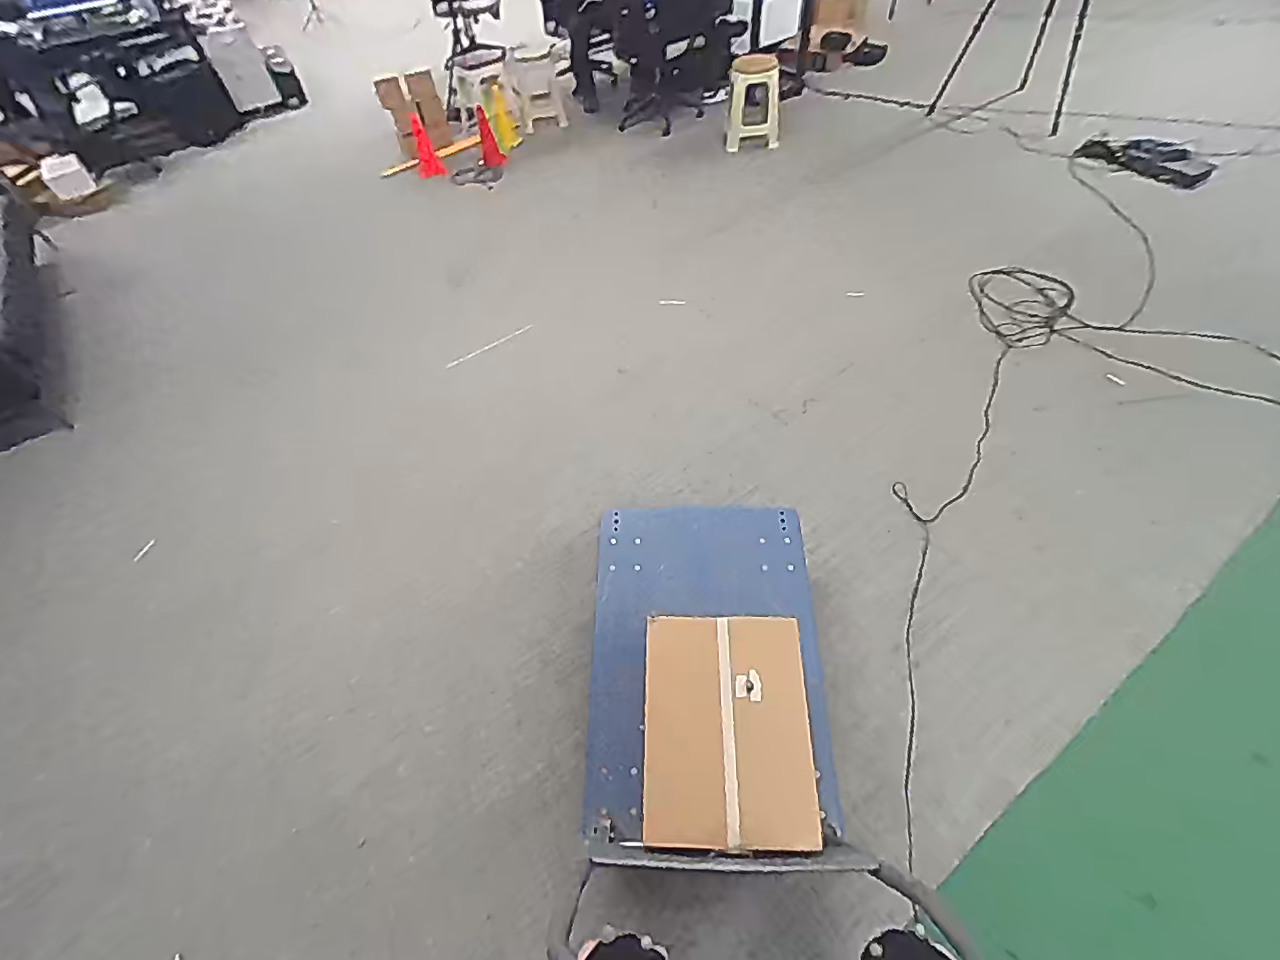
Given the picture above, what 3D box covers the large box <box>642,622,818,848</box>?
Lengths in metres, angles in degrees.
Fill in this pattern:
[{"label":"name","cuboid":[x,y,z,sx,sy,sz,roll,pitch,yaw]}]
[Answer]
[{"label":"large box","cuboid":[0.172,0.550,1.177,0.320,0.320,0.408,0,60,3]}]
